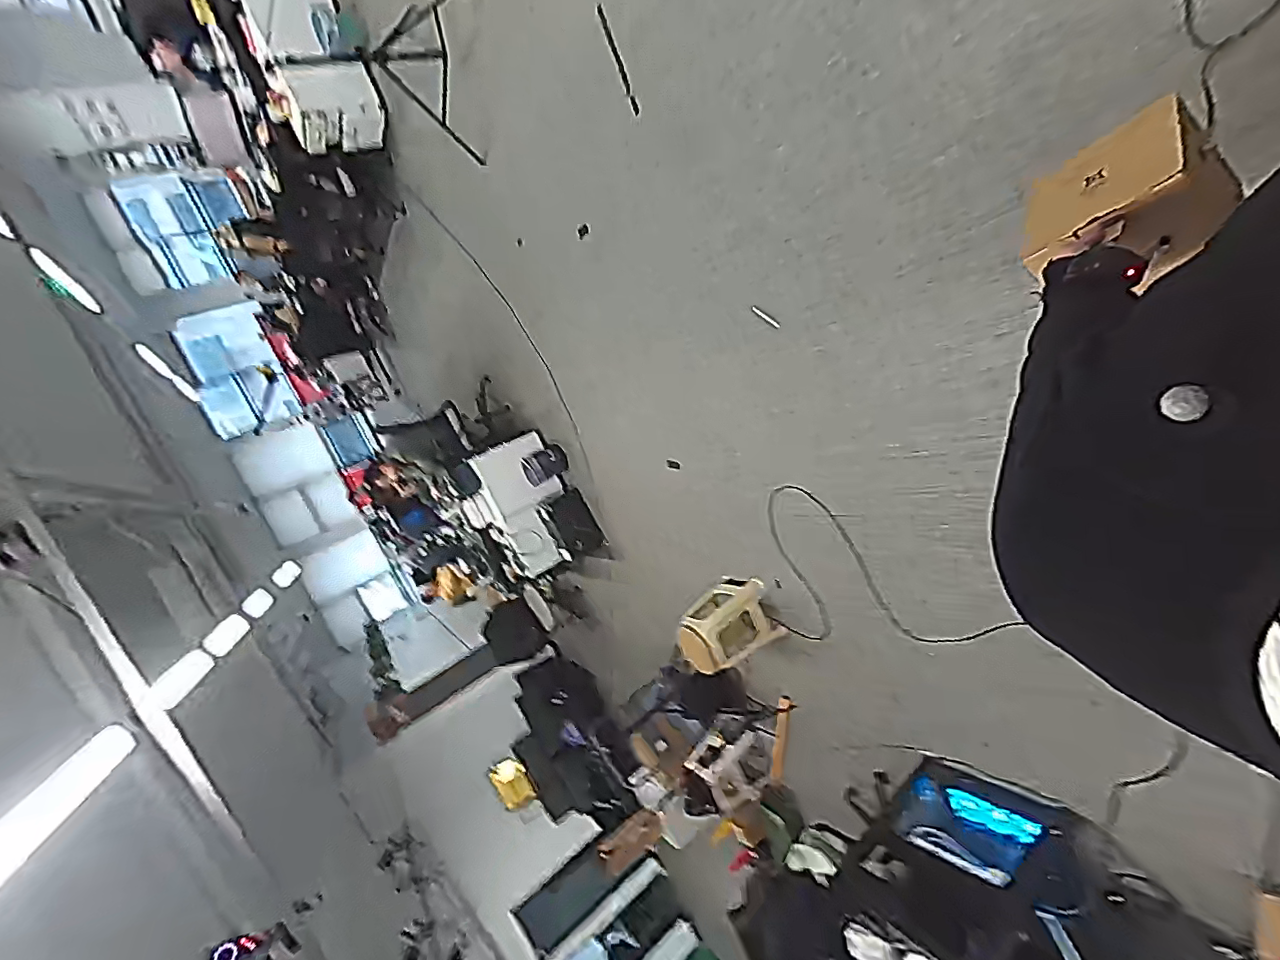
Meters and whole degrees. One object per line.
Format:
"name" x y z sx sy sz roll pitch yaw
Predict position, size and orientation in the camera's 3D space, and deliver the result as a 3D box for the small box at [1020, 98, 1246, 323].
"small box" 0.639 -0.334 0.709 0.176 0.179 0.168 34 152 -17
